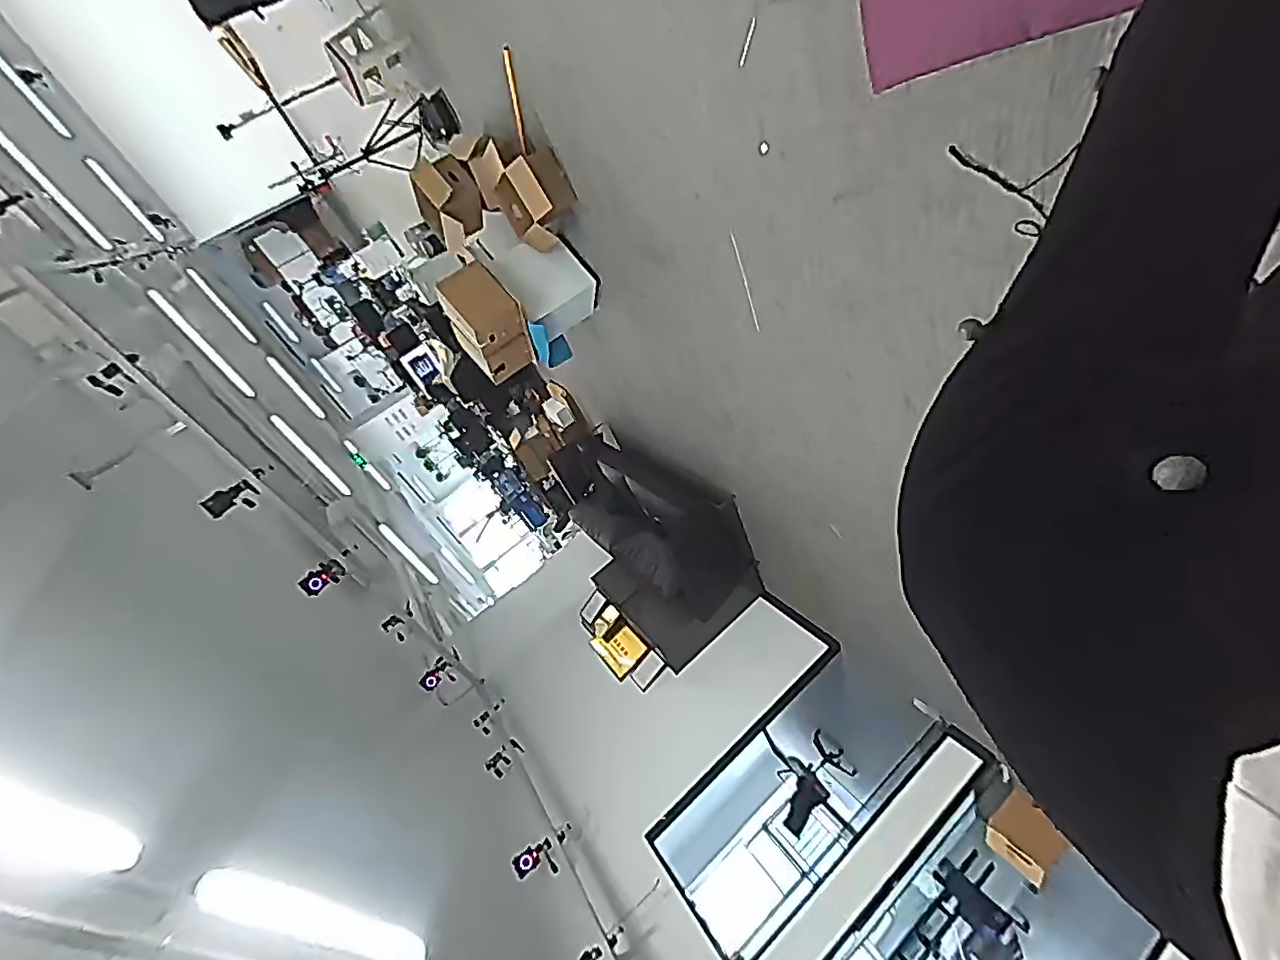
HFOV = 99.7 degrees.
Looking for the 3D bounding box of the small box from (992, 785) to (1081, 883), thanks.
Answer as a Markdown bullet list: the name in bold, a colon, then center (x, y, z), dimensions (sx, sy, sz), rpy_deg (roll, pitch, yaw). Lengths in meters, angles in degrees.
- **small box**: center (1.243, 1.104, 1.696), dimensions (0.168, 0.176, 0.179), rpy_deg (35, 156, 50)
